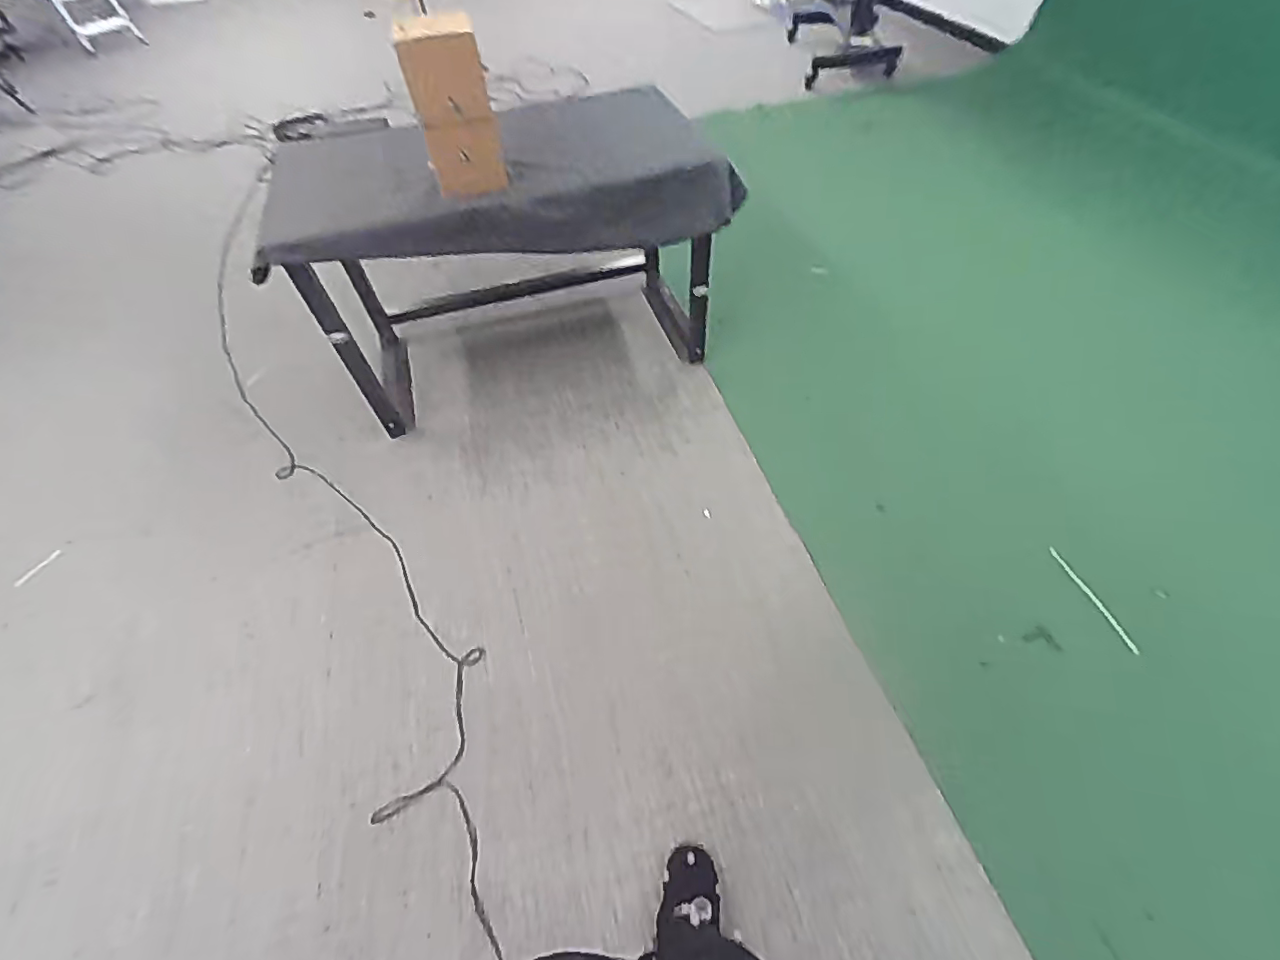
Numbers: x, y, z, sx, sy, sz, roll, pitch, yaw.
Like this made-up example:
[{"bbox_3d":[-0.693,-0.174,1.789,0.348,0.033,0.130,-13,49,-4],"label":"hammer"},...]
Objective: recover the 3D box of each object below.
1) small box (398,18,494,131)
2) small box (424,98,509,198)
[{"bbox_3d":[-0.449,-0.953,1.273,0.179,0.176,0.168,-13,53,-7],"label":"small box"},{"bbox_3d":[-0.442,-0.860,1.405,0.179,0.176,0.168,-11,51,-5],"label":"small box"}]
